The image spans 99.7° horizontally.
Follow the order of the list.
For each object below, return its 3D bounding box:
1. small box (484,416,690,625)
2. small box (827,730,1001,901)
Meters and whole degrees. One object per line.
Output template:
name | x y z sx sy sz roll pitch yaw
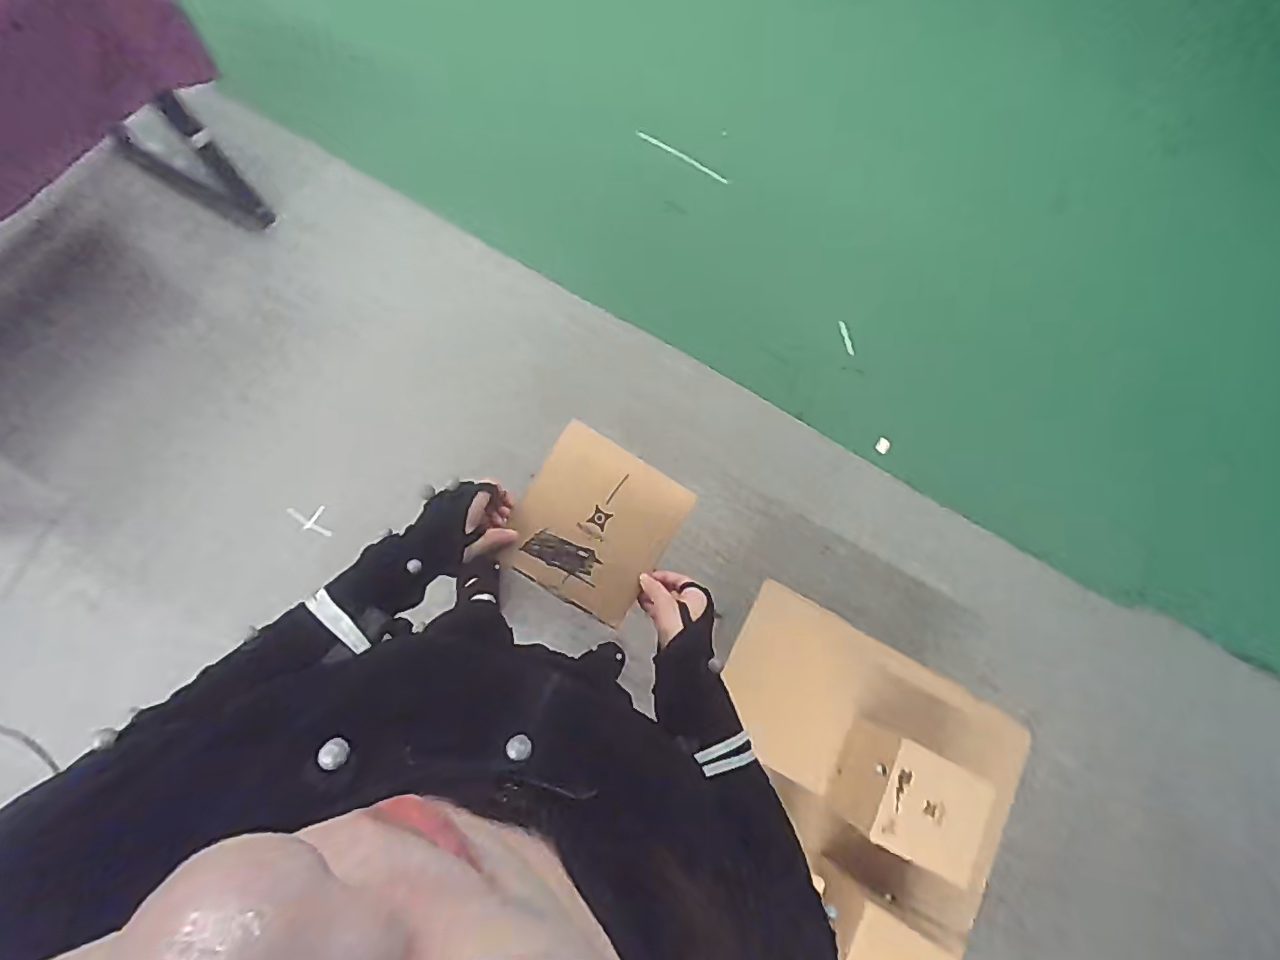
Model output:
small box | -0.062 0.044 0.666 0.168 0.176 0.179 32 88 -5
small box | 0.460 0.556 0.928 0.179 0.176 0.168 29 75 1
